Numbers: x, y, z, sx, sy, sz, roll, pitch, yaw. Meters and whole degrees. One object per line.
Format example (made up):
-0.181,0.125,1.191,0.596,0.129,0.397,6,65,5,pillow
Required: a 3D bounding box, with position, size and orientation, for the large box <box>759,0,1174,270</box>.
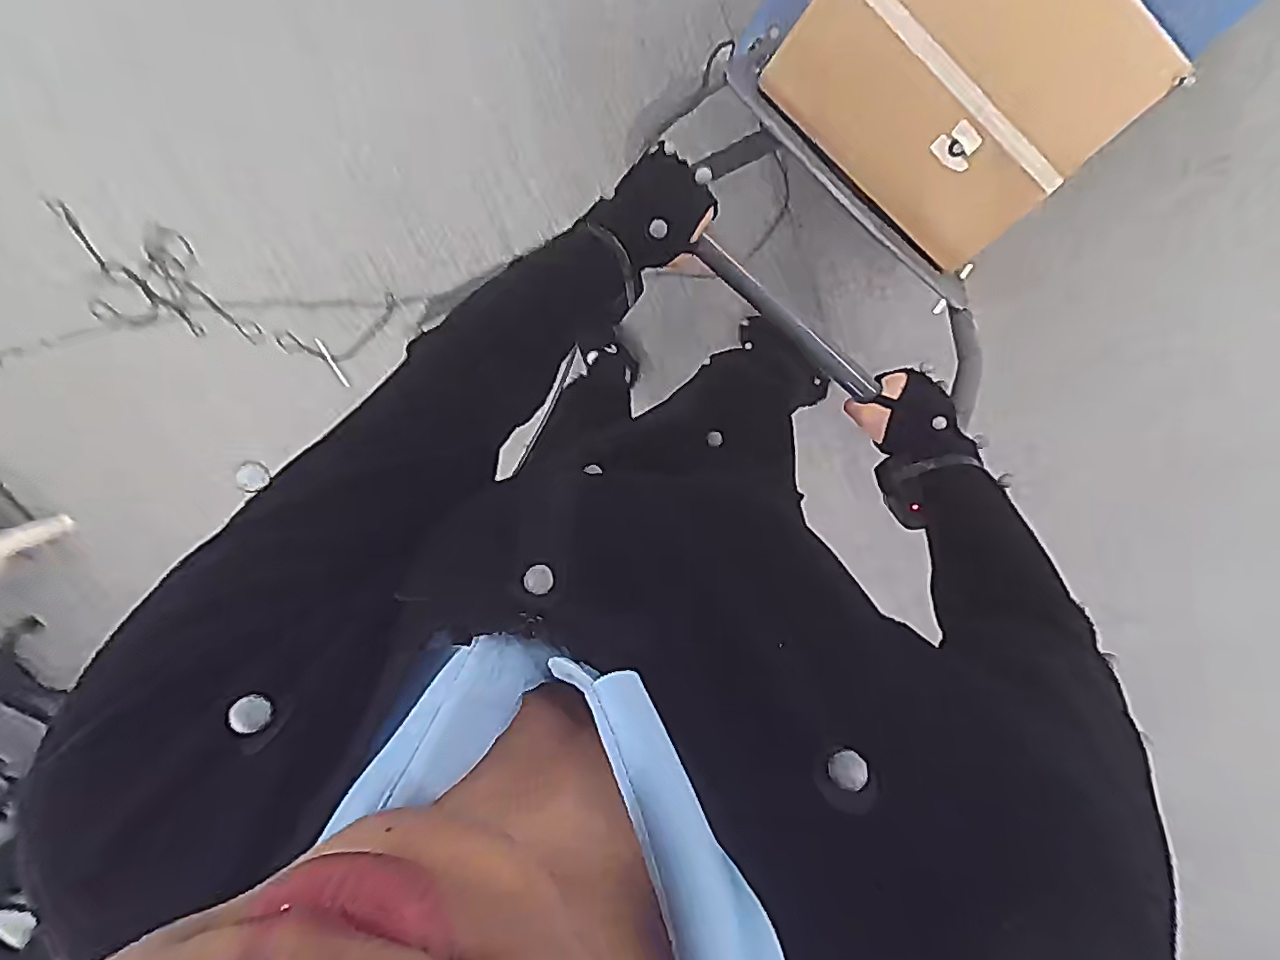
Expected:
0.445,-0.611,0.821,0.408,0.320,0.320,37,132,-11,large box
